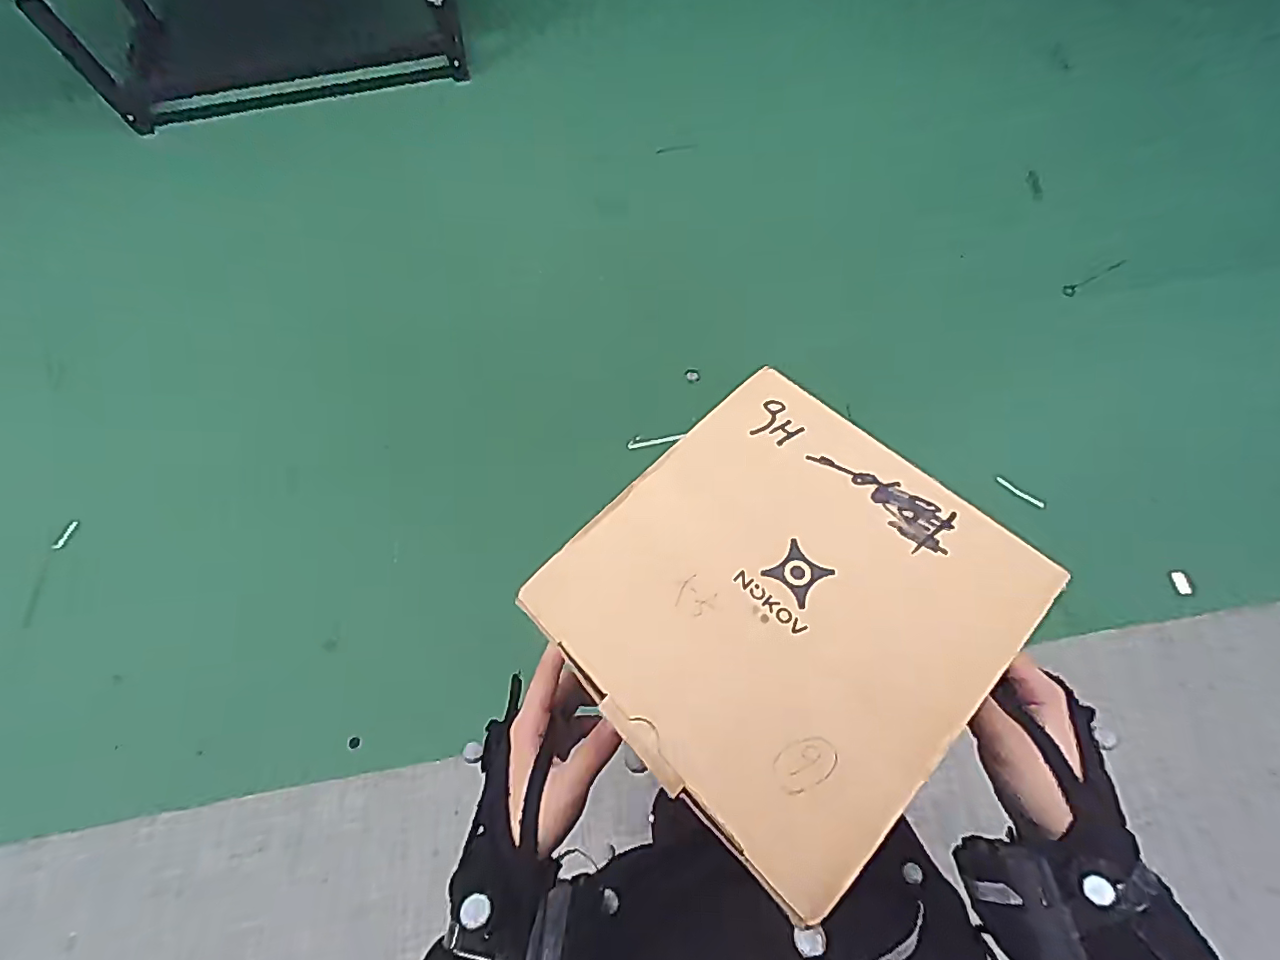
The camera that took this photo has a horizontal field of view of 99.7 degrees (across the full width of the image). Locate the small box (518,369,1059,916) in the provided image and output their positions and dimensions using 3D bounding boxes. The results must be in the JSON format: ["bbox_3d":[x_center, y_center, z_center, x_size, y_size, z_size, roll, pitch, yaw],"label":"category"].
[{"bbox_3d":[0.068,0.081,0.306,0.179,0.176,0.168,-42,67,-14],"label":"small box"}]
